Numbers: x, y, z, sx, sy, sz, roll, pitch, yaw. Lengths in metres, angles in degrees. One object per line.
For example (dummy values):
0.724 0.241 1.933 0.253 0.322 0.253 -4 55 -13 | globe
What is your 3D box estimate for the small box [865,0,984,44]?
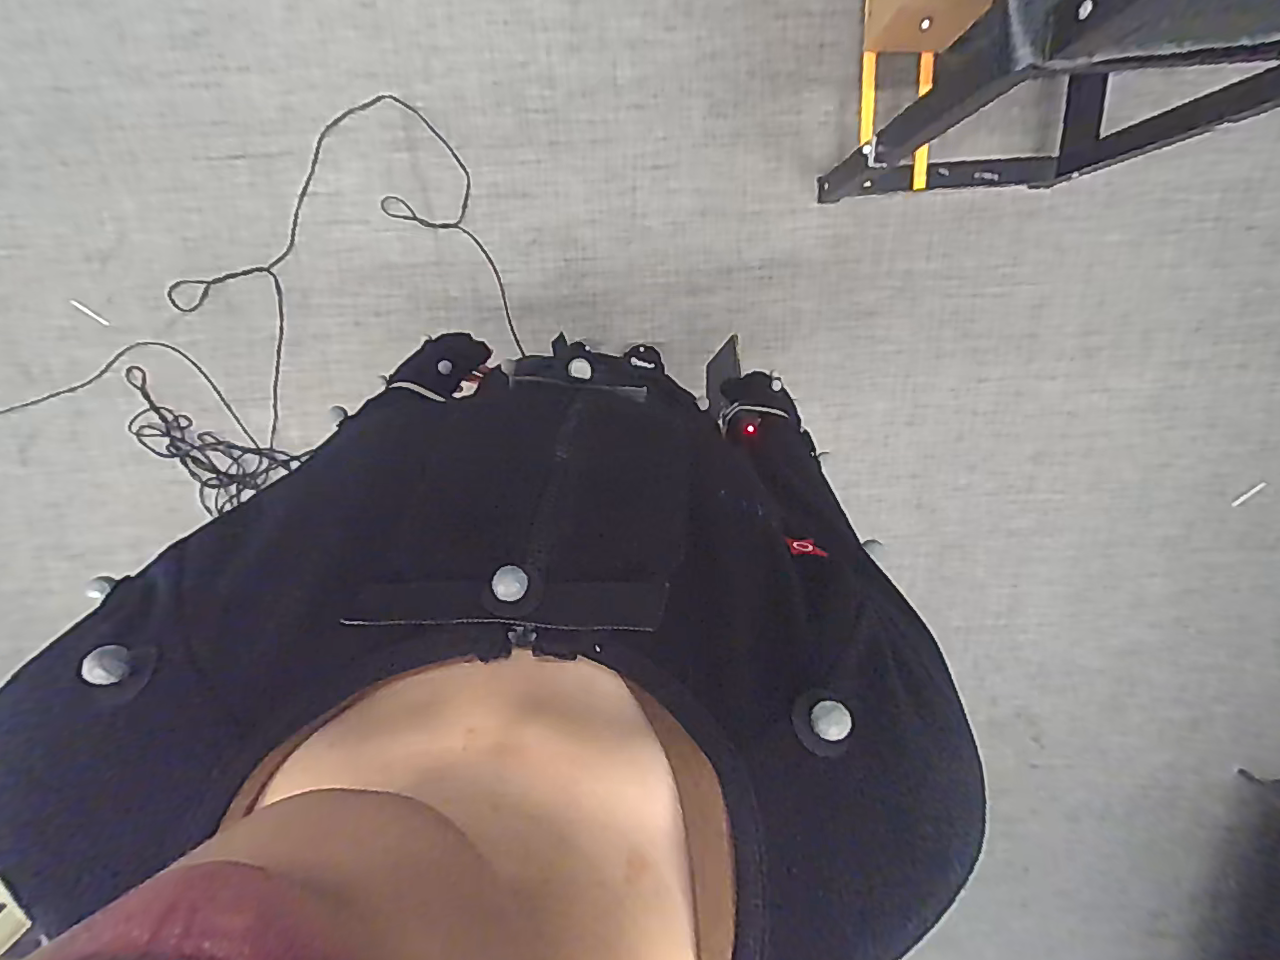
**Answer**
0.558 -0.983 1.048 0.179 0.176 0.168 0 106 -1 | small box
